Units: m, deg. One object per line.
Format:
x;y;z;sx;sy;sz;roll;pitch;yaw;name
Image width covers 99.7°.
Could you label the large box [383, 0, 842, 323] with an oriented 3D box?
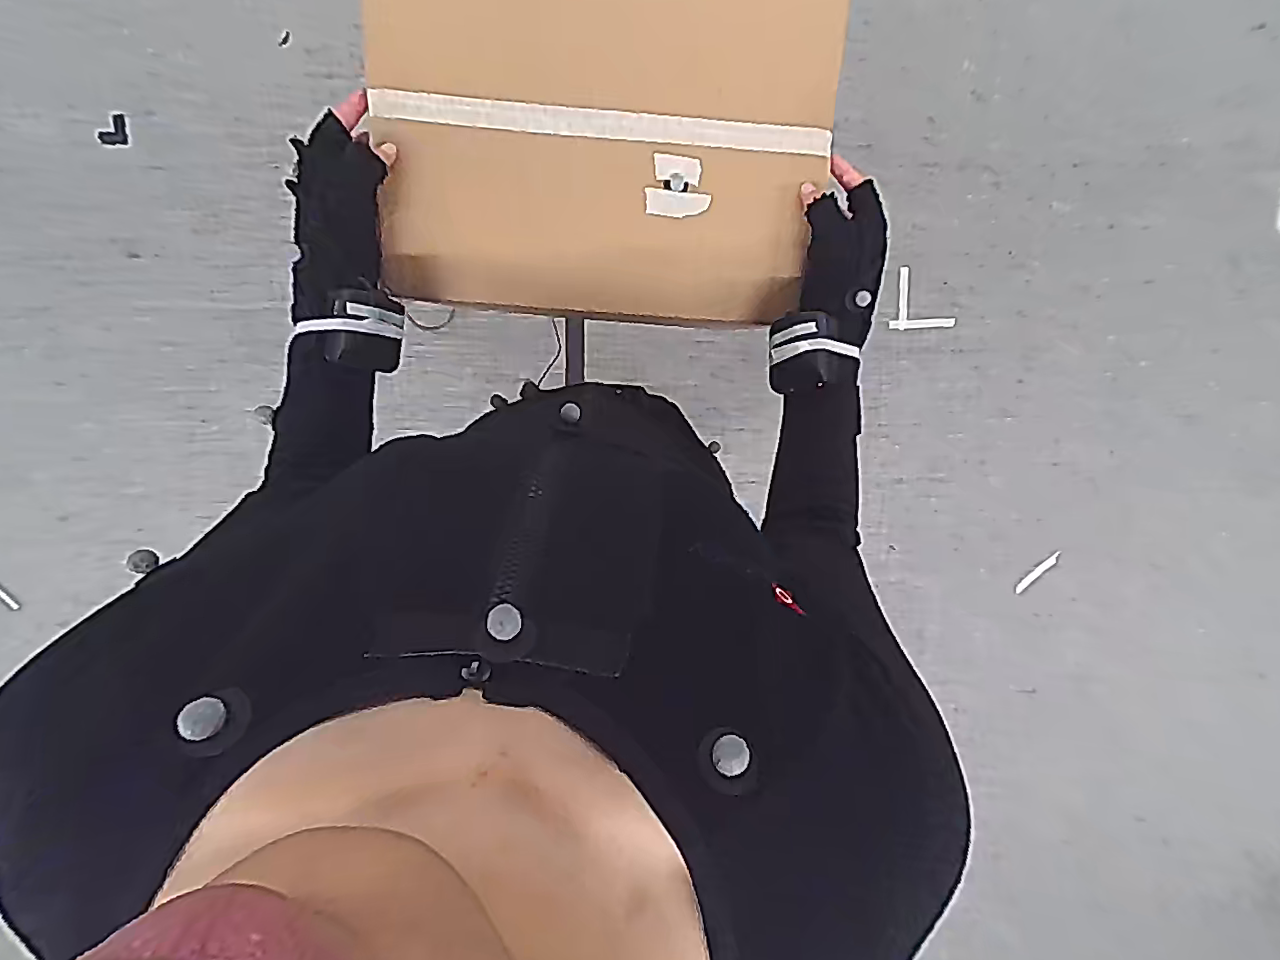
-0.036;-0.358;0.635;0.408;0.320;0.320;3;105;-5;large box
